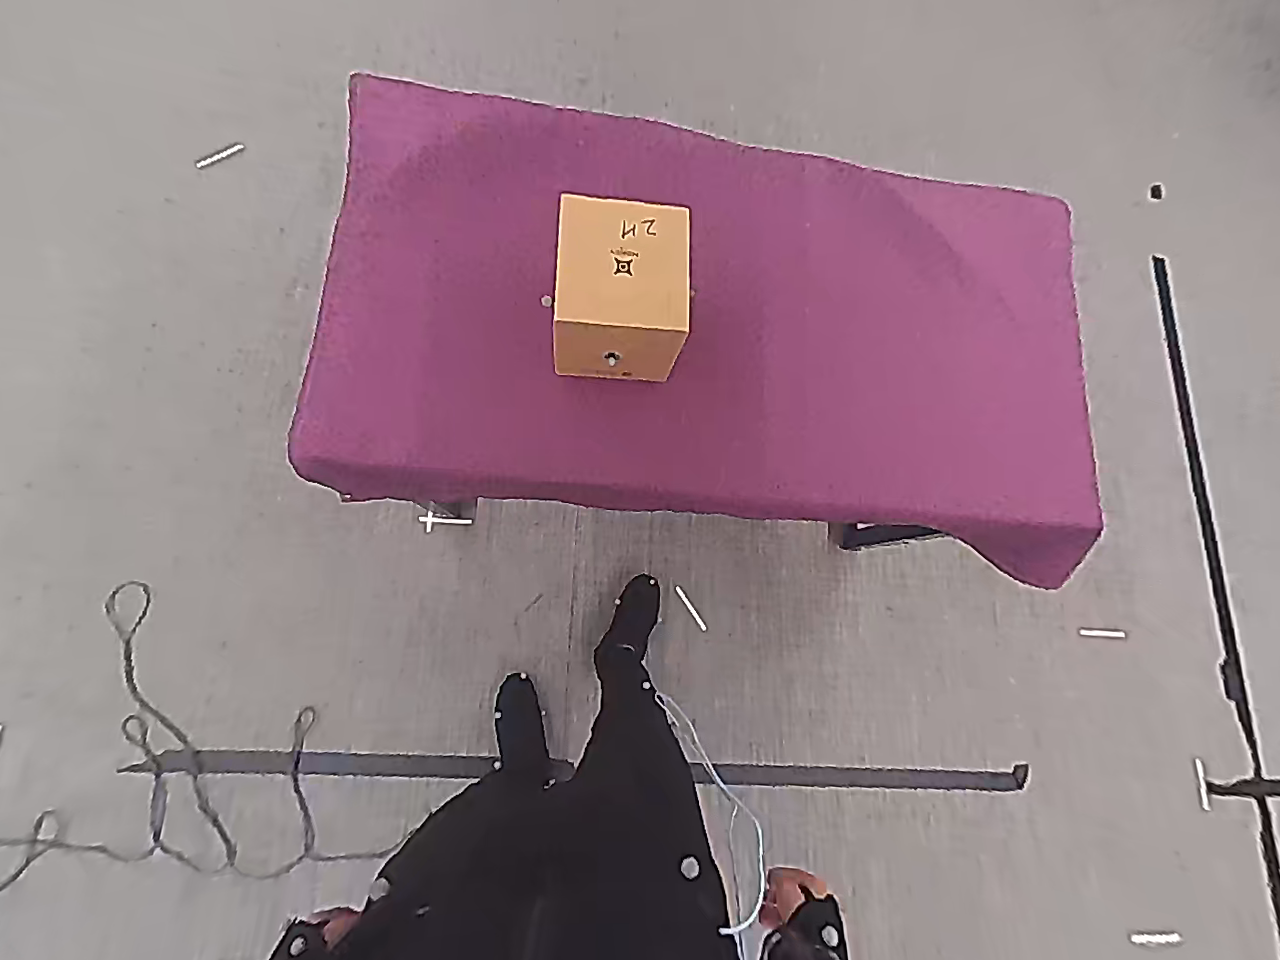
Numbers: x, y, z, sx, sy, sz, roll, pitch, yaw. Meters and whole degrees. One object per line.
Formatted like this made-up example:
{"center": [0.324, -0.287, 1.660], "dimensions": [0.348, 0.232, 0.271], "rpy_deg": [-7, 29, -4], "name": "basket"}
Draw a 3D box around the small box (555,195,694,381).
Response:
{"center": [-0.025, -0.247, 0.737], "dimensions": [0.168, 0.176, 0.179], "rpy_deg": [3, 78, -8], "name": "small box"}
